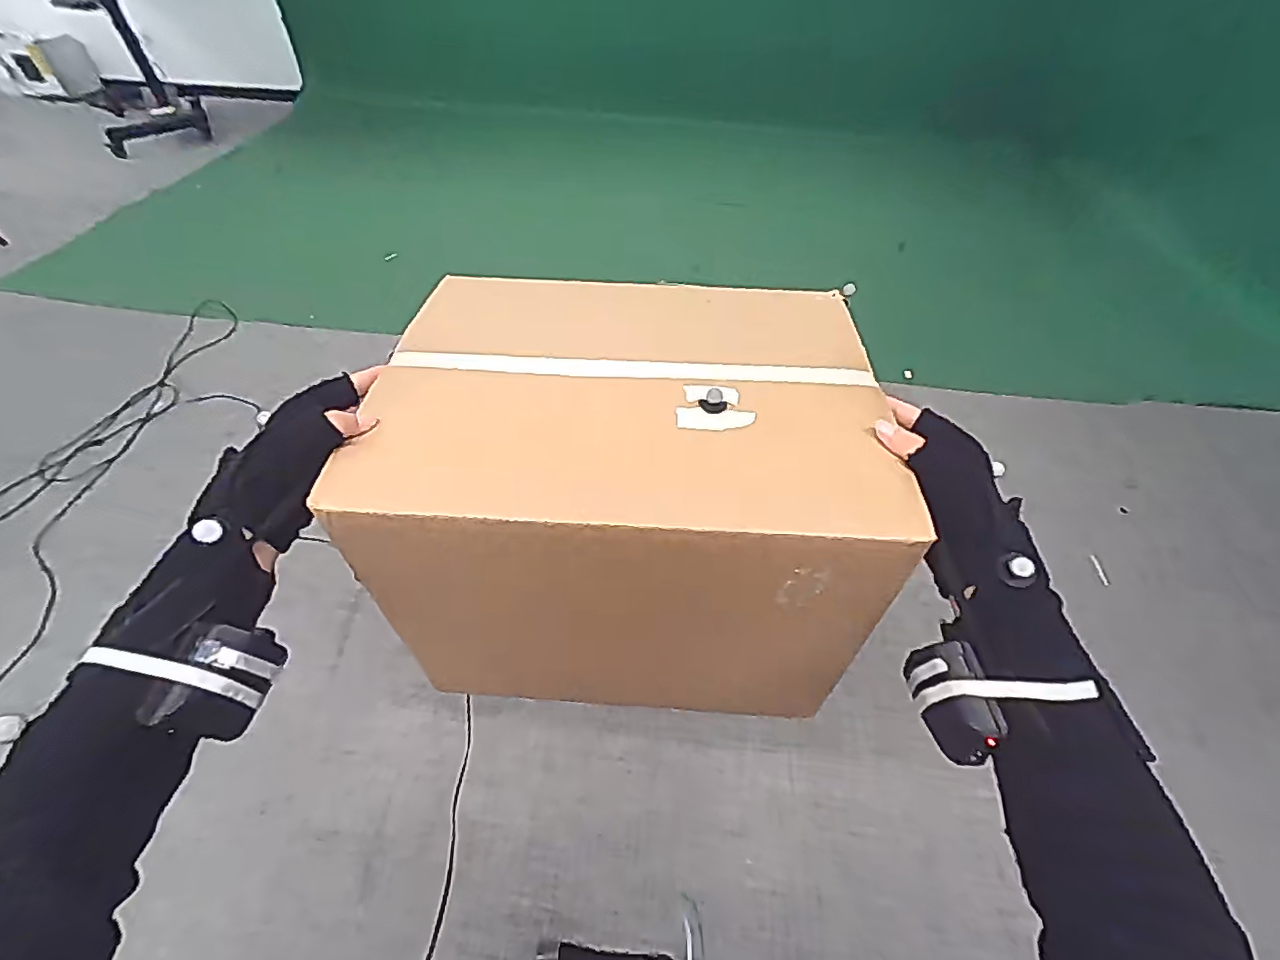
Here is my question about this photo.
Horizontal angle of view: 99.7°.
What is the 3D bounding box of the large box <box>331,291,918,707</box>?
[{"bbox_3d":[-0.010,0.022,0.568,0.408,0.320,0.320,3,48,1],"label":"large box"}]
